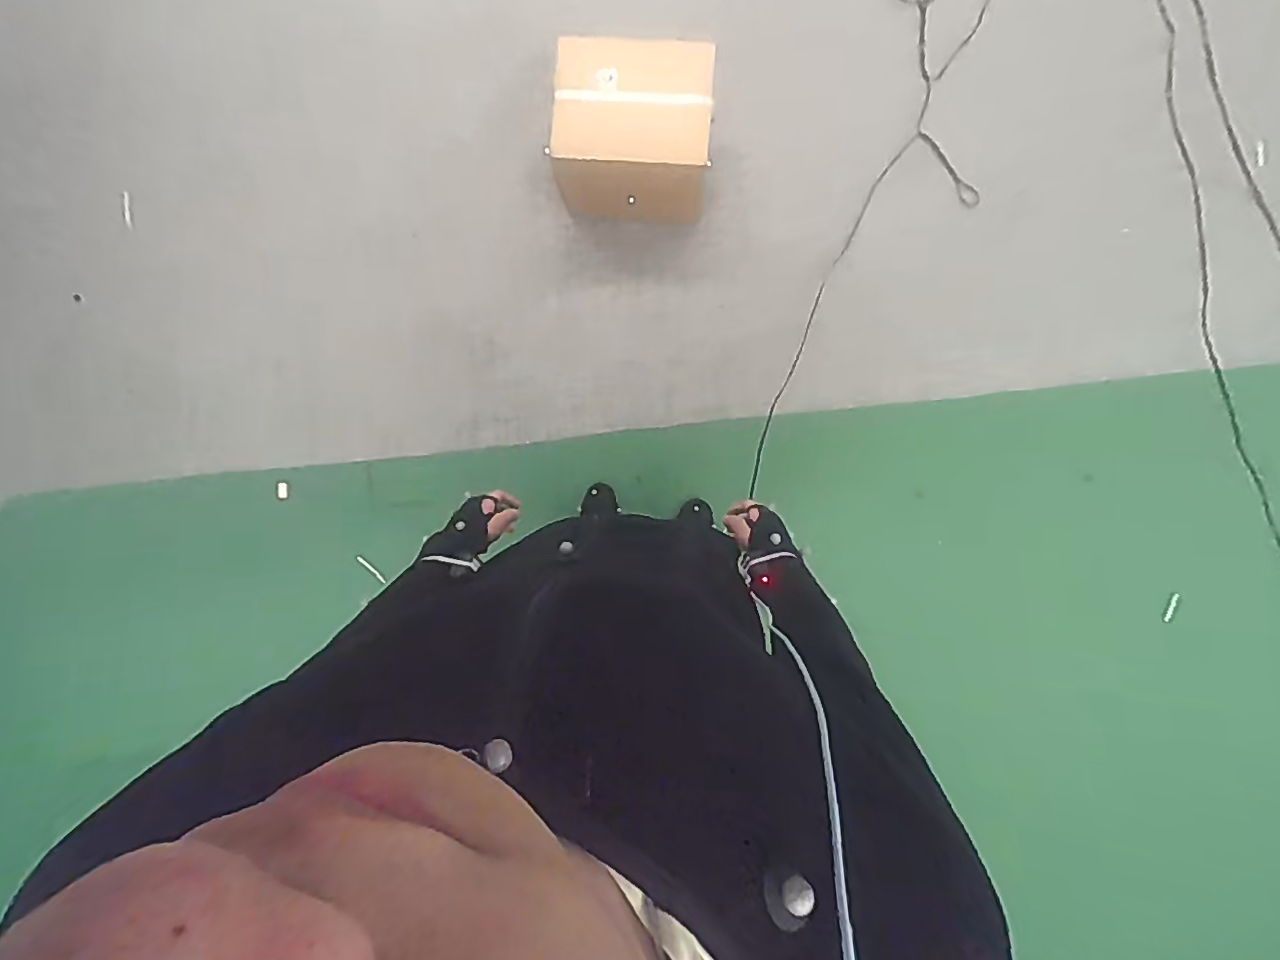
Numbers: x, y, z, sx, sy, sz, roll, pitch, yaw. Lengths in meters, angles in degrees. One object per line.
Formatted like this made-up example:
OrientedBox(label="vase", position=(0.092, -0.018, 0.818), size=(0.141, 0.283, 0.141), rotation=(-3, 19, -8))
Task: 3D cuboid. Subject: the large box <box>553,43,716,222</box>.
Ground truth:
OrientedBox(label="large box", position=(-0.004, -0.950, 1.514), size=(0.408, 0.320, 0.320), rotation=(5, 89, 3))
